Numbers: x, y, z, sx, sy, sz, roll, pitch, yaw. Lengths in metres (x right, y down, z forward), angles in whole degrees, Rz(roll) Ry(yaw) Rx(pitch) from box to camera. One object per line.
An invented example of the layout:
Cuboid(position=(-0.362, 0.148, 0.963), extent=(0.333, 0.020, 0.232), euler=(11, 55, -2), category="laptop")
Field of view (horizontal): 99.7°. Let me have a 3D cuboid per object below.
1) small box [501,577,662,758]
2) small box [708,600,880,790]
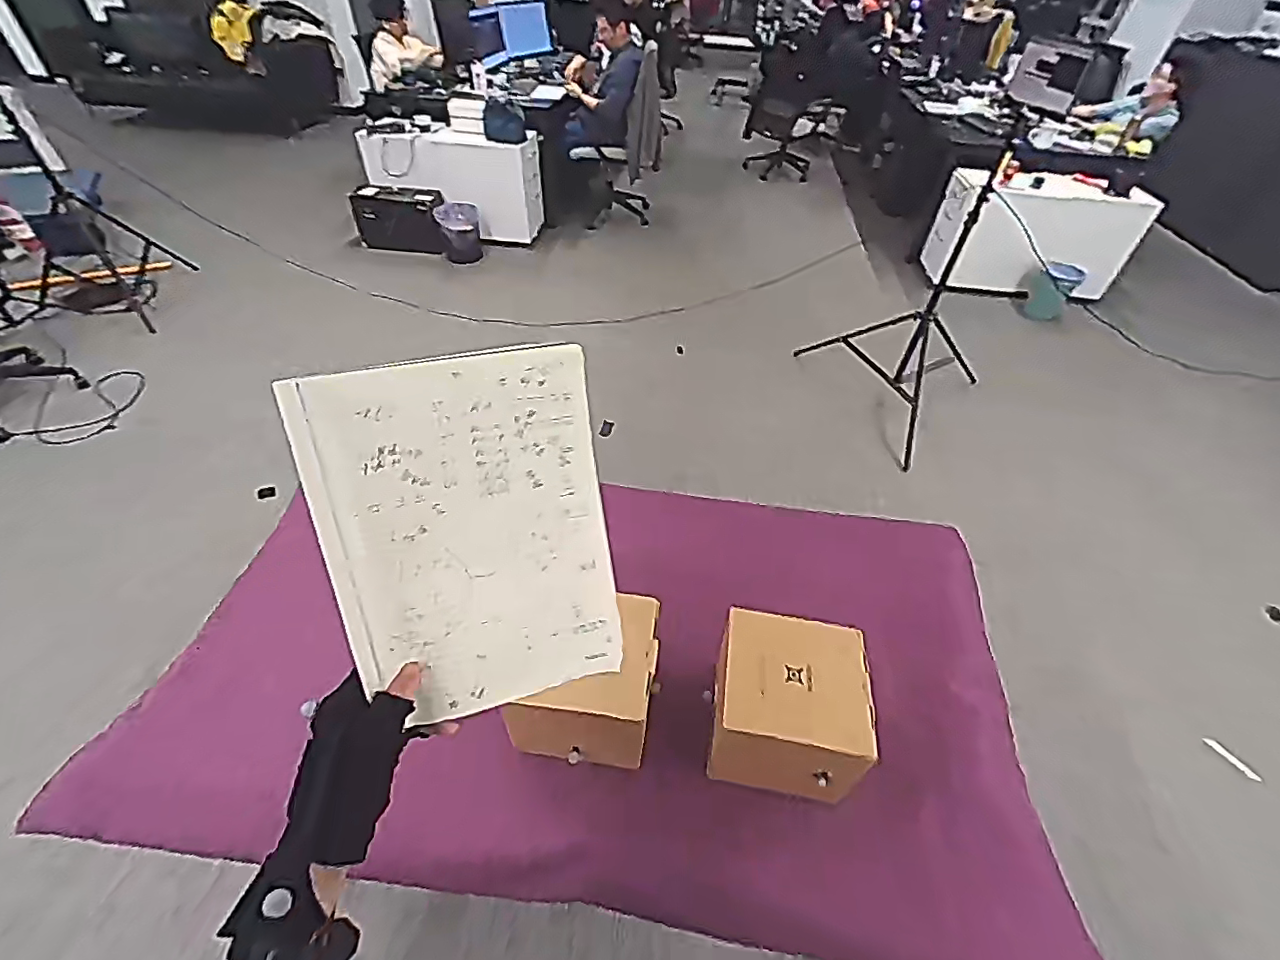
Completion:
Cuboid(position=(-0.070, 0.257, 0.730), extent=(0.179, 0.176, 0.168), euler=(7, 45, 3), category="small box")
Cuboid(position=(0.193, 0.286, 0.715), extent=(0.179, 0.176, 0.168), euler=(8, 44, 7), category="small box")
